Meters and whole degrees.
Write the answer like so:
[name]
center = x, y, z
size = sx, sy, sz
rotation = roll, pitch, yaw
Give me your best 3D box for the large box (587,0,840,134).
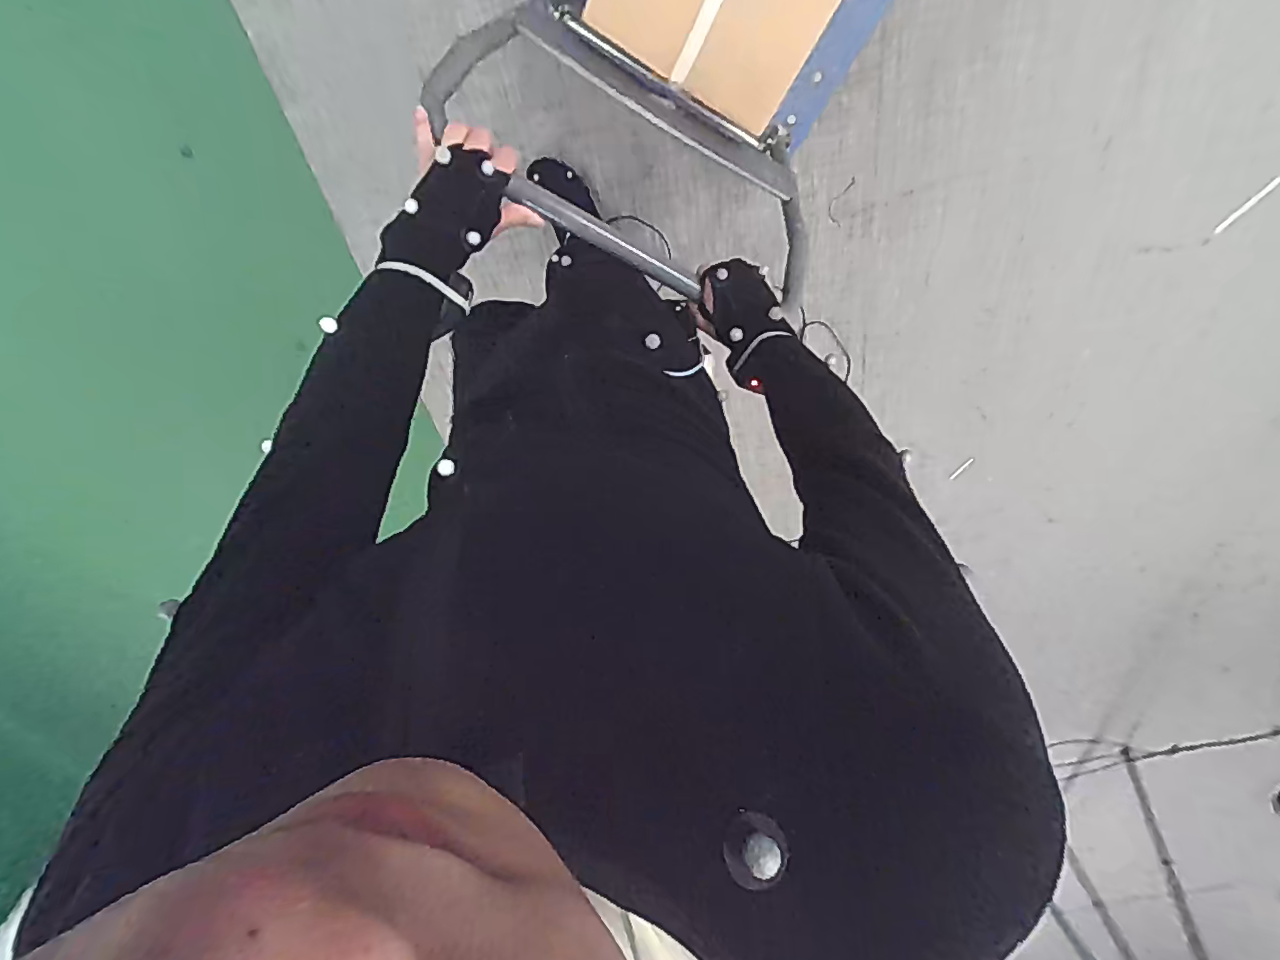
[large box]
center = 0.159, -0.824, 0.801
size = 0.320, 0.320, 0.408
rotation = 24, 131, -15
